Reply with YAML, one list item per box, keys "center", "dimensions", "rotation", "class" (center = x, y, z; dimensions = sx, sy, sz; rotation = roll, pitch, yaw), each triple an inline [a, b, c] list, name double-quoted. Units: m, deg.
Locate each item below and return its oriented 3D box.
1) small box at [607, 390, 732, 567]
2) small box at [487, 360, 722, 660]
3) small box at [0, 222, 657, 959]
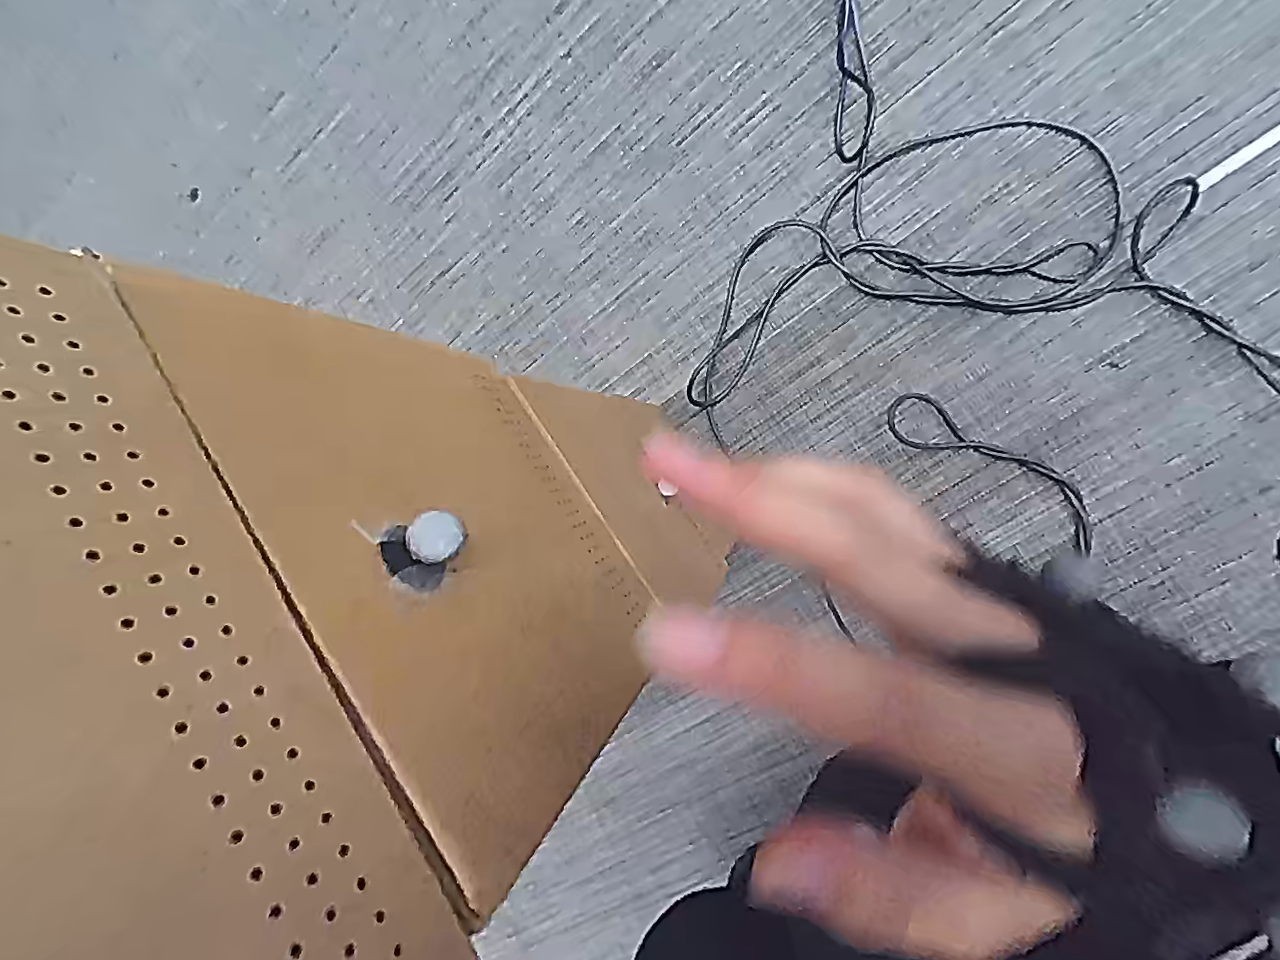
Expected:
- center: [-0.025, 0.034, 0.519]
  dimensions: [0.179, 0.176, 0.168]
  rotation: [-34, 83, 16]
  class: "small box"
- center: [-0.066, 0.049, 0.361]
  dimensions: [0.179, 0.176, 0.168]
  rotation: [-35, 84, 15]
  class: "small box"
- center: [-0.118, 0.052, 0.207]
  dimensions: [0.168, 0.176, 0.179]
  rotation: [-36, 84, 15]
  class: "small box"
